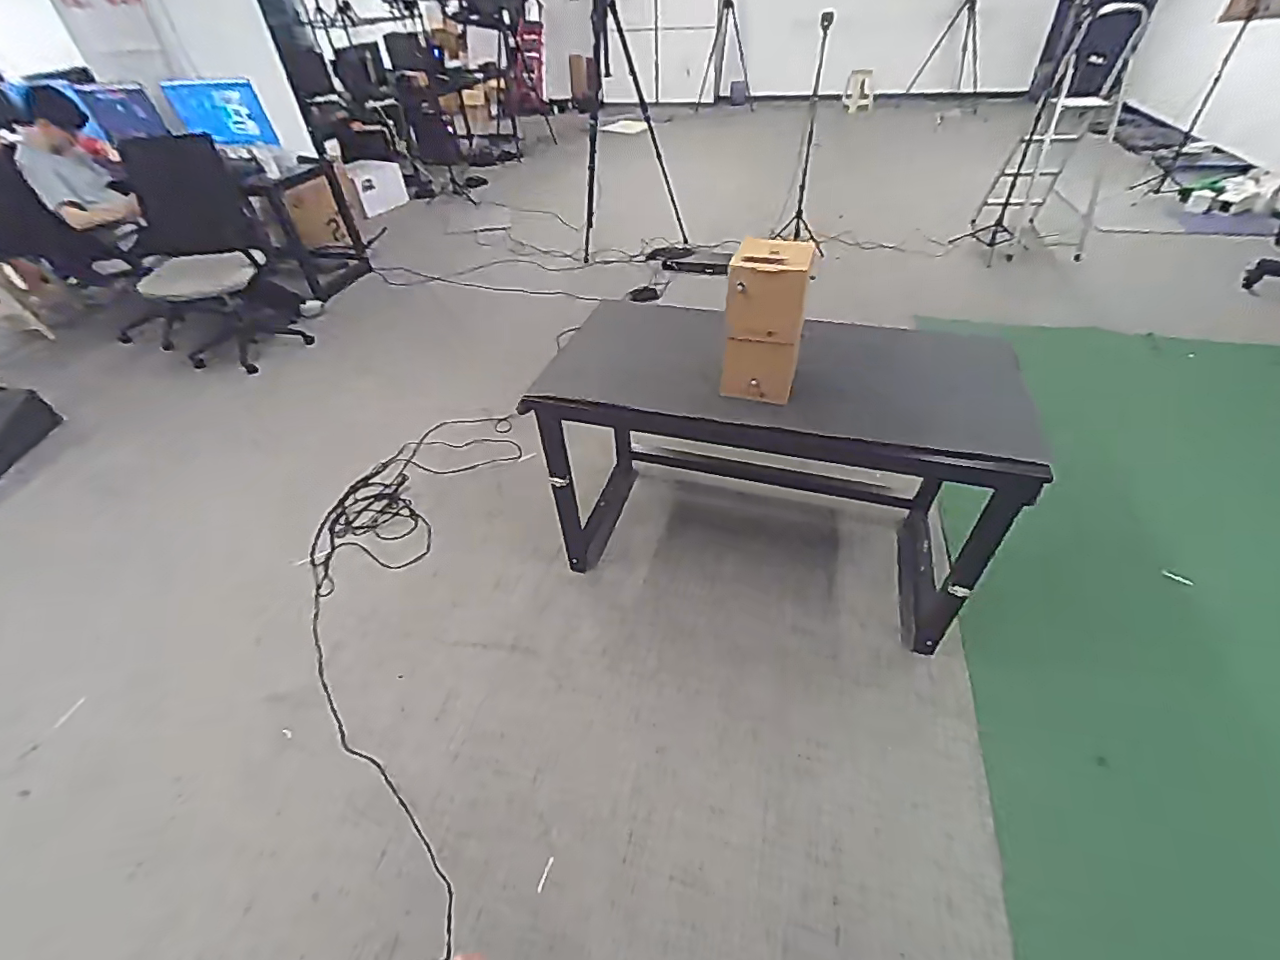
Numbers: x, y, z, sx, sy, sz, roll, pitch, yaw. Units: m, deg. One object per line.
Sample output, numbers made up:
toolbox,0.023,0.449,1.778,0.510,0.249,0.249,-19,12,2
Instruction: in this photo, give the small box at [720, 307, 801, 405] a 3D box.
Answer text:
small box,0.297,-0.312,1.350,0.168,0.176,0.179,11,43,16
